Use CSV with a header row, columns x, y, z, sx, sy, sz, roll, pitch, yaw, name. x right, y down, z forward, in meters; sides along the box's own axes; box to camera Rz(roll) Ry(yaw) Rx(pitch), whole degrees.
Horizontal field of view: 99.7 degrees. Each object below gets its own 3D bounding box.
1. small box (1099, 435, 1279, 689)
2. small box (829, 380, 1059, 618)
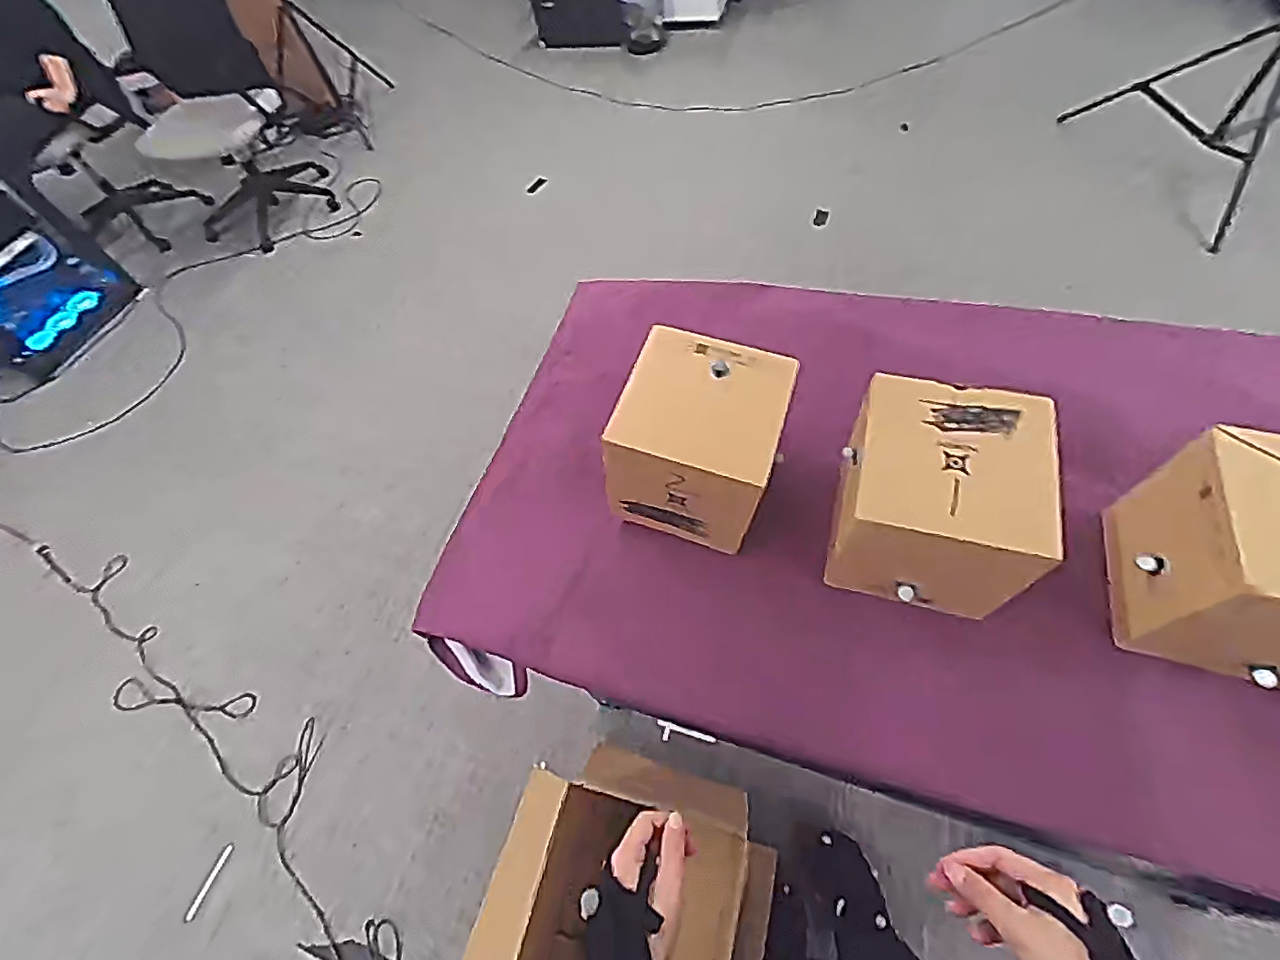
x,y,z,sx,sy,sz,roll,pitch,yaw,name
0.580,0.078,0.500,0.179,0.176,0.168,13,59,16,small box
0.307,0.024,0.578,0.168,0.176,0.179,12,61,15,small box
